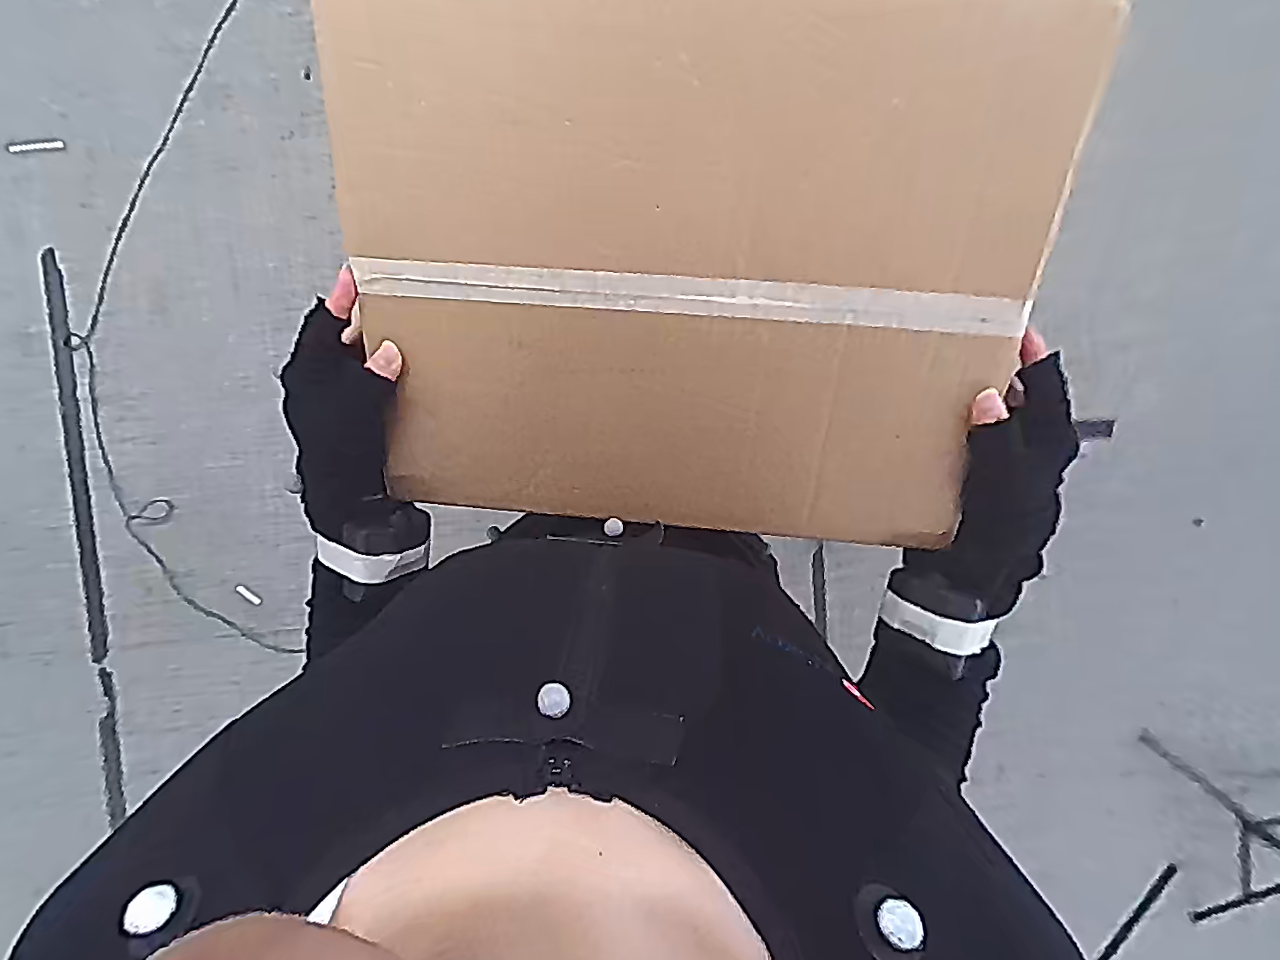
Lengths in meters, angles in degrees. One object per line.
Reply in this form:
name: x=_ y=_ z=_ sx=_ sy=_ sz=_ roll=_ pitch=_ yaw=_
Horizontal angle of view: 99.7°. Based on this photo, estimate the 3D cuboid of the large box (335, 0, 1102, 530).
large box: x=0.034 y=-0.177 z=0.471 sx=0.408 sy=0.320 sz=0.320 roll=5 pitch=115 yaw=2
